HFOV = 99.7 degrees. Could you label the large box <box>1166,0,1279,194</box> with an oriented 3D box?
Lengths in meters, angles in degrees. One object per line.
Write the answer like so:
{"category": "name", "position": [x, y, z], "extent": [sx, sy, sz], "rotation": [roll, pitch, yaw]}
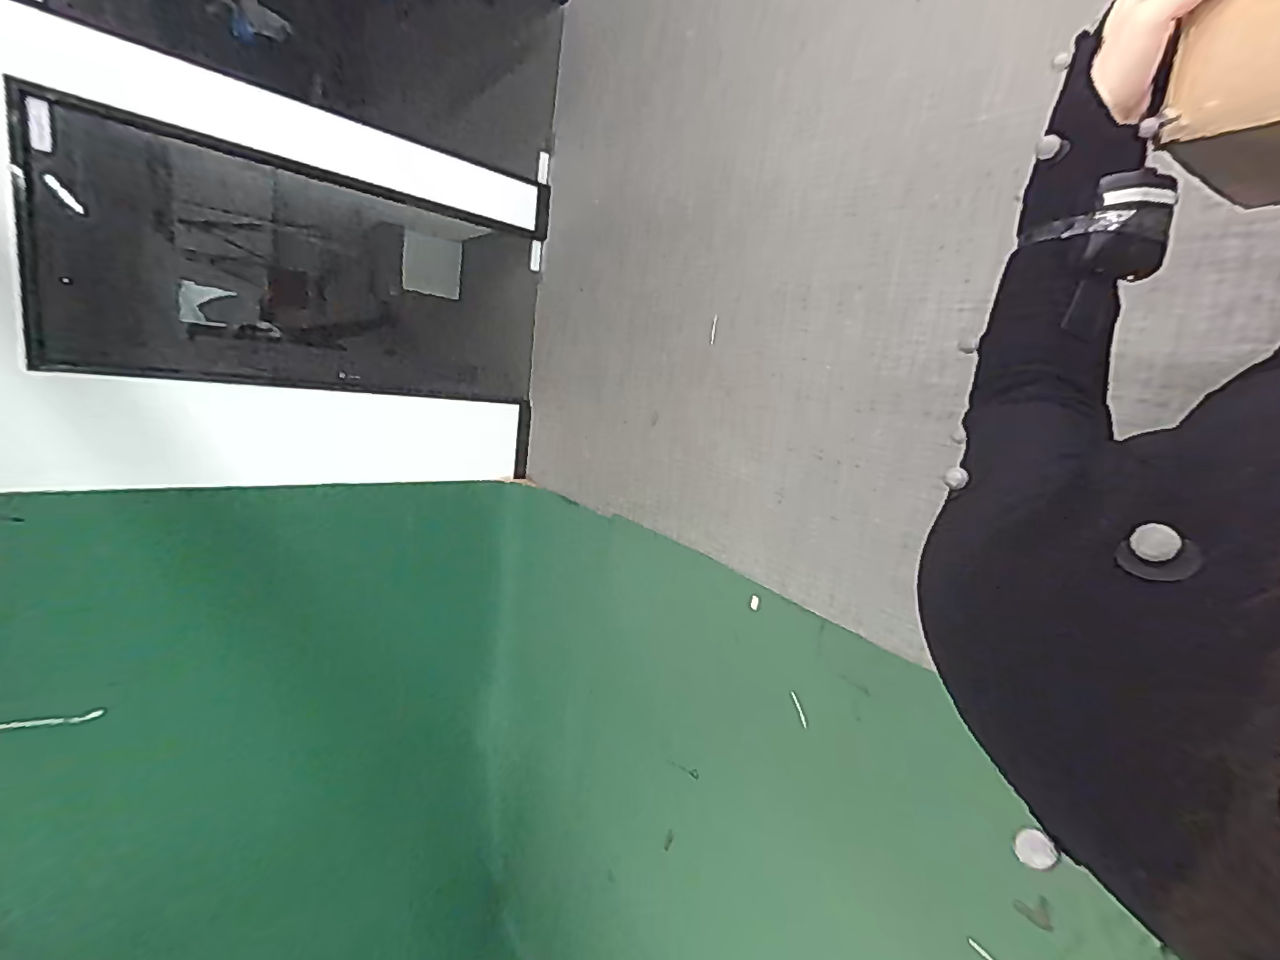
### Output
{"category": "large box", "position": [0.617, -0.376, 0.279], "extent": [0.408, 0.320, 0.320], "rotation": [20, 114, 54]}
